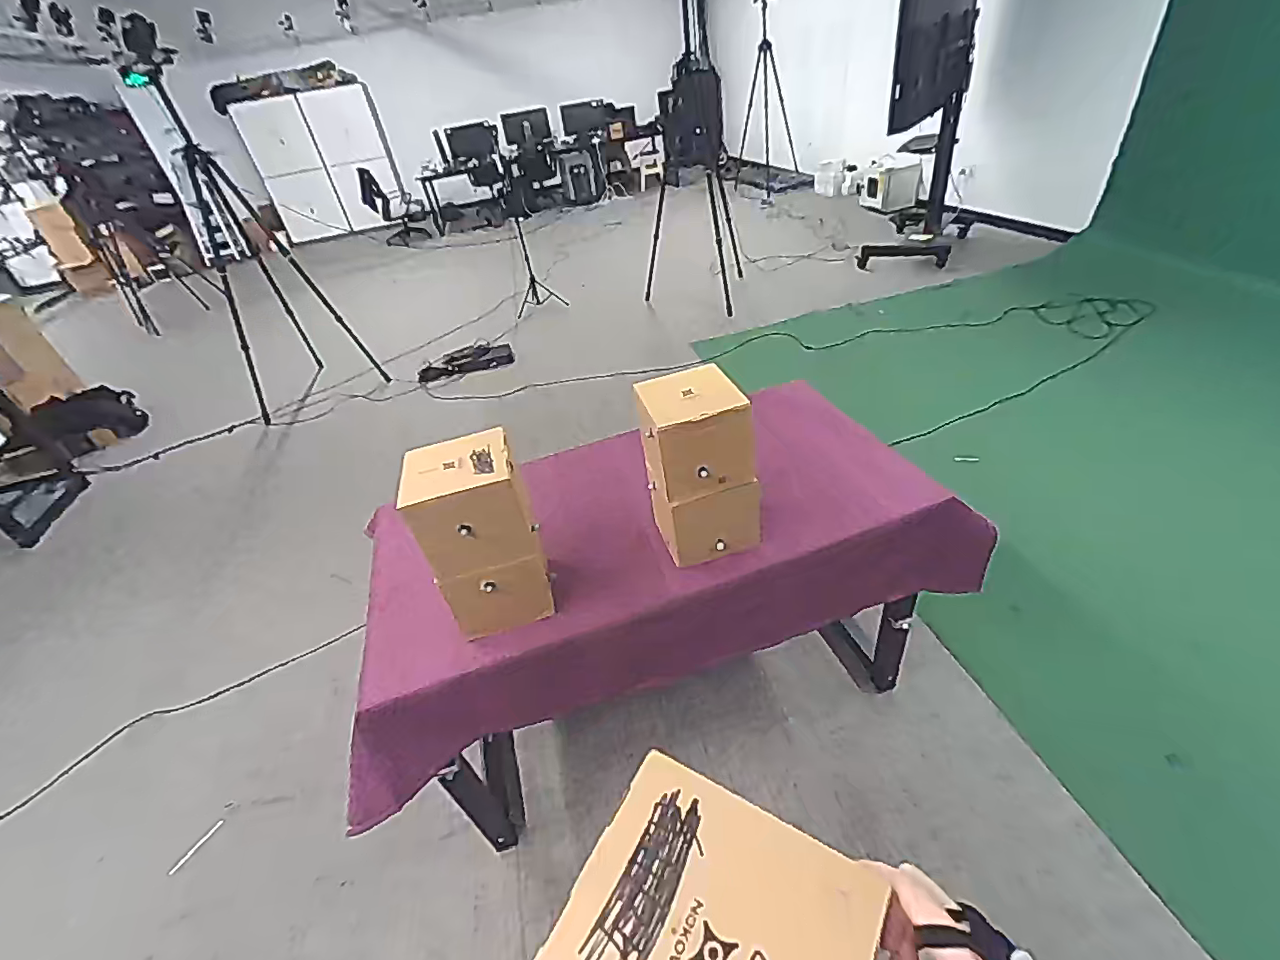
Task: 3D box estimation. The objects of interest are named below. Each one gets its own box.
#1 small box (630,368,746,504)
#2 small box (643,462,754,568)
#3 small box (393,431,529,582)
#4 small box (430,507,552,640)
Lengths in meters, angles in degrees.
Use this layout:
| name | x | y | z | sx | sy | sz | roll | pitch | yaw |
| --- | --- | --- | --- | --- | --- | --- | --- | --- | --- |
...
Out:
| name | x | y | z | sx | sy | sz | roll | pitch | yaw |
| --- | --- | --- | --- | --- | --- | --- | --- | --- | --- |
| small box | 0.088 | -0.083 | 1.009 | 0.168 | 0.176 | 0.179 | -16 | 38 | -7 |
| small box | 0.117 | 0.051 | 1.099 | 0.179 | 0.176 | 0.168 | -16 | 37 | -8 |
| small box | -0.298 | 0.045 | 0.932 | 0.179 | 0.176 | 0.168 | -16 | 38 | -7 |
| small box | -0.279 | 0.177 | 1.029 | 0.179 | 0.176 | 0.168 | -15 | 38 | -7 |
